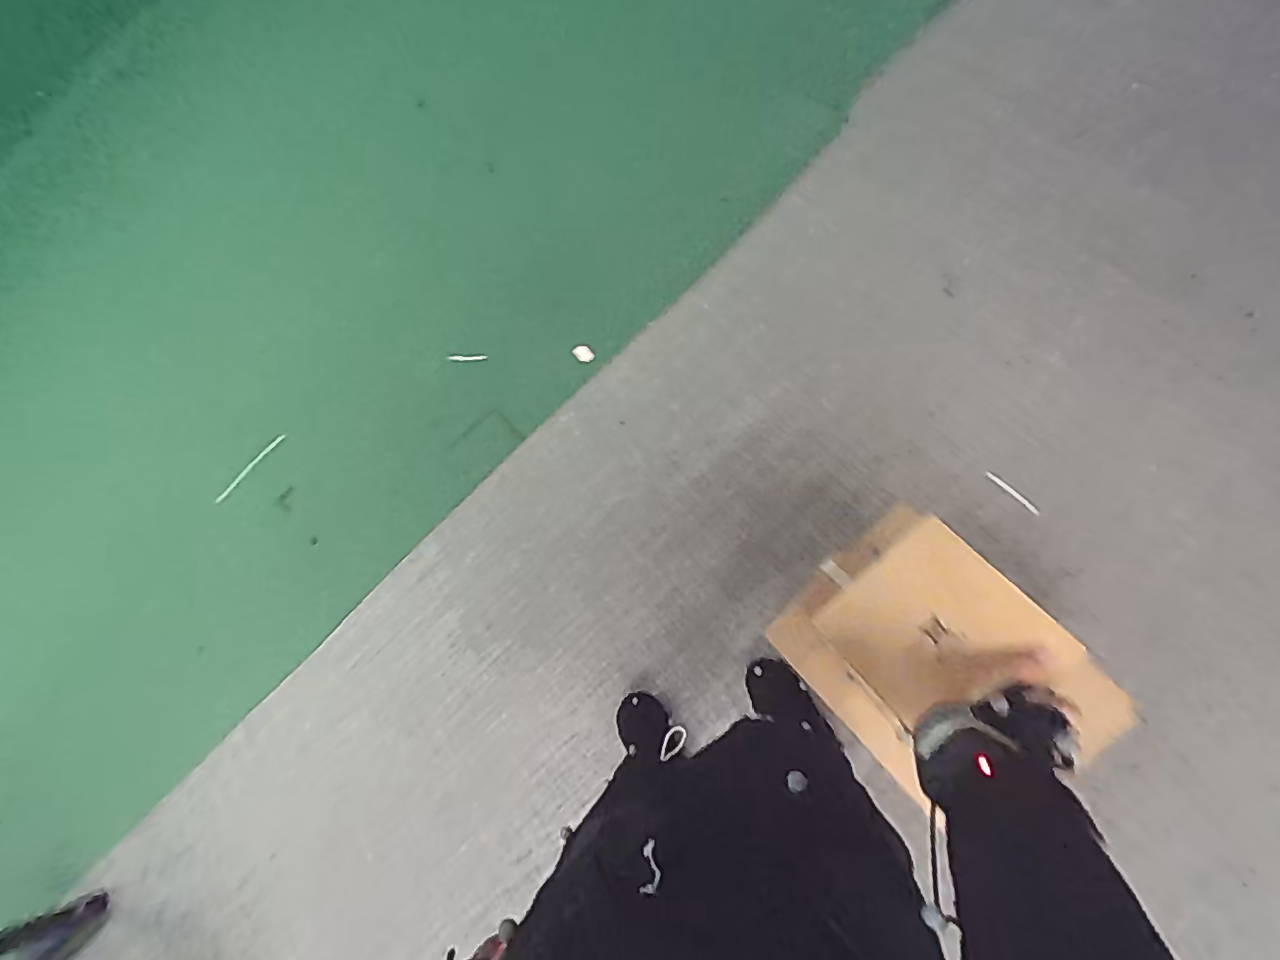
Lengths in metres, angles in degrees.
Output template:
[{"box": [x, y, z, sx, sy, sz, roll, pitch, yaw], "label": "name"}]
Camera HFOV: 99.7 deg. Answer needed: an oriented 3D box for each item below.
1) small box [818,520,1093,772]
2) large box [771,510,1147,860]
[{"box": [0.312, 0.171, 0.586, 0.168, 0.176, 0.179, -43, 69, 4], "label": "small box"}, {"box": [0.483, 0.314, 0.935, 0.320, 0.320, 0.408, -45, 69, 4], "label": "large box"}]
